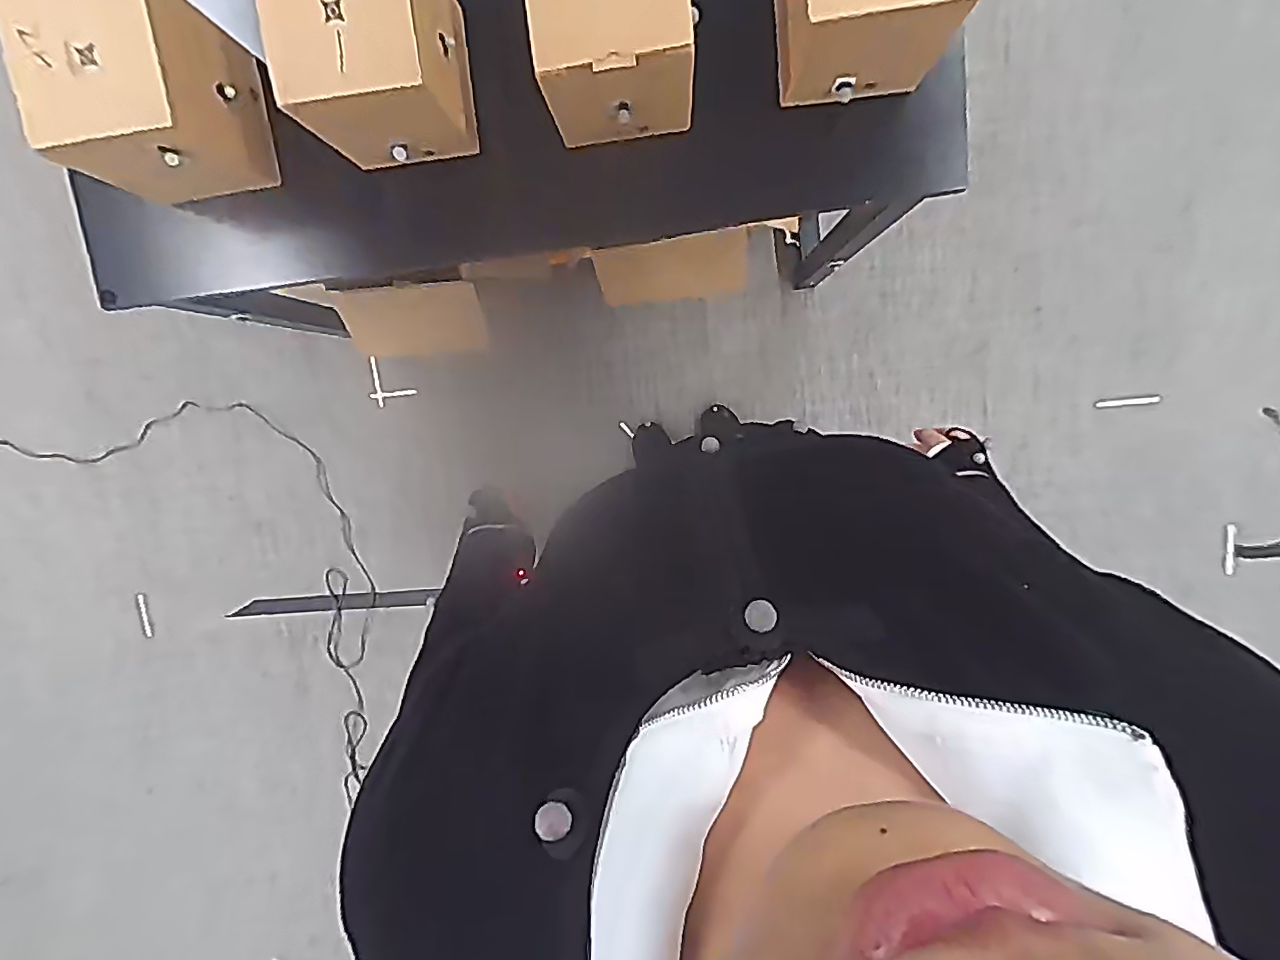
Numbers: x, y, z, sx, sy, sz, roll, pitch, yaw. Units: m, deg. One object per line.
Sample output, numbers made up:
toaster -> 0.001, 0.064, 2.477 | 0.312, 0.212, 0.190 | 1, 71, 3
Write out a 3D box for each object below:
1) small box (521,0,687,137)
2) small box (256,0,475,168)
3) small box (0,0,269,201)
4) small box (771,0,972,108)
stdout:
small box -> -0.035, -0.519, 0.613 | 0.168, 0.176, 0.179 | -6, 99, 5
small box -> -0.309, -0.501, 0.633 | 0.168, 0.176, 0.179 | -5, 99, 5
small box -> -0.591, -0.462, 0.655 | 0.179, 0.176, 0.168 | -7, 98, 4
small box -> 0.240, -0.552, 0.590 | 0.168, 0.176, 0.179 | -5, 99, 6
